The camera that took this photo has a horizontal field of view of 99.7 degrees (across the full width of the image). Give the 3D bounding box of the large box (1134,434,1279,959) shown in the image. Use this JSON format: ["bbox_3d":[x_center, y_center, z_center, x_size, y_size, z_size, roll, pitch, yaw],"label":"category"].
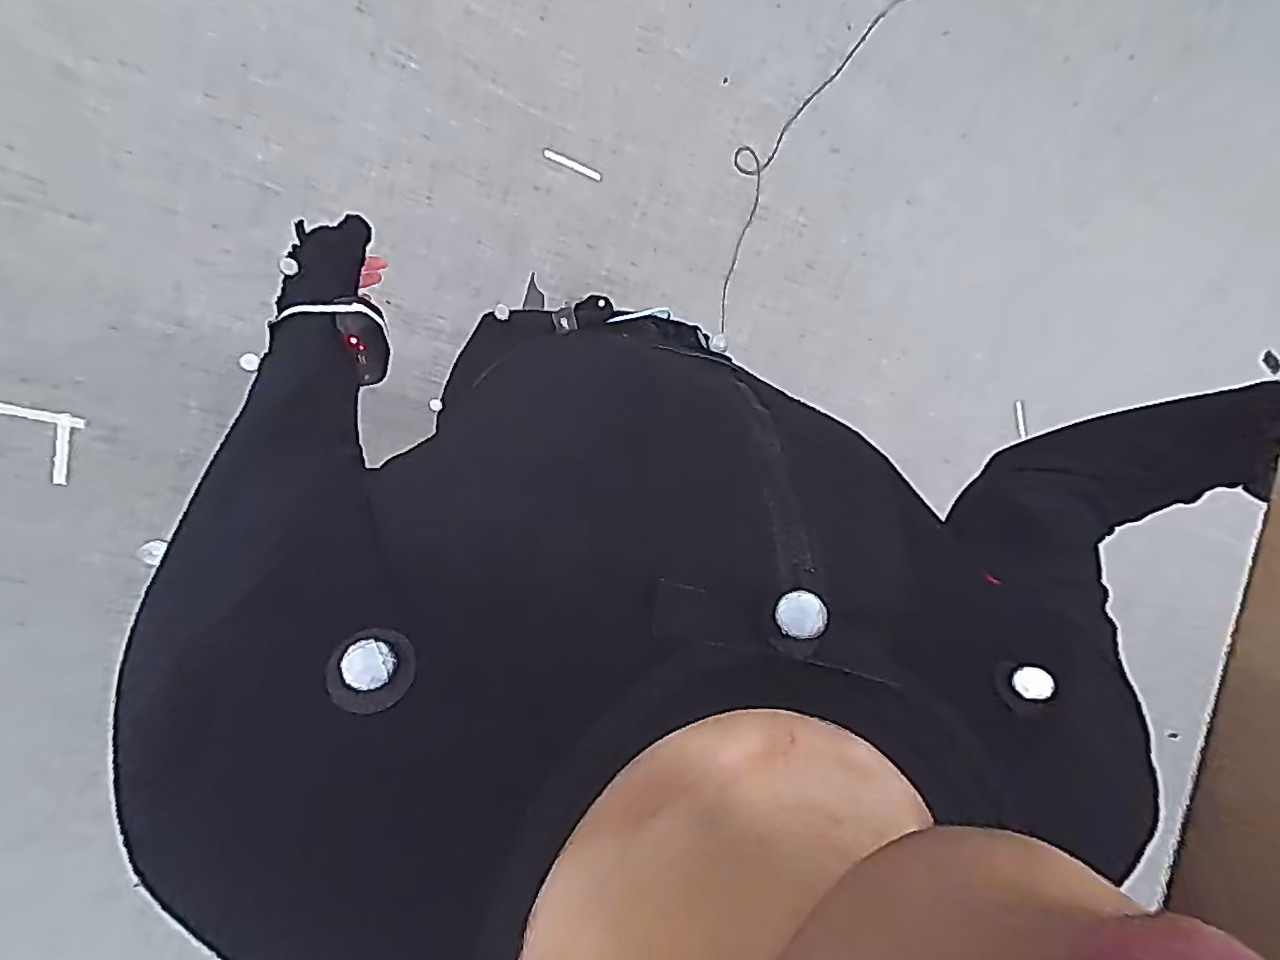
[{"bbox_3d":[0.451,0.085,0.127,0.320,0.320,0.408,39,71,-1],"label":"large box"}]
